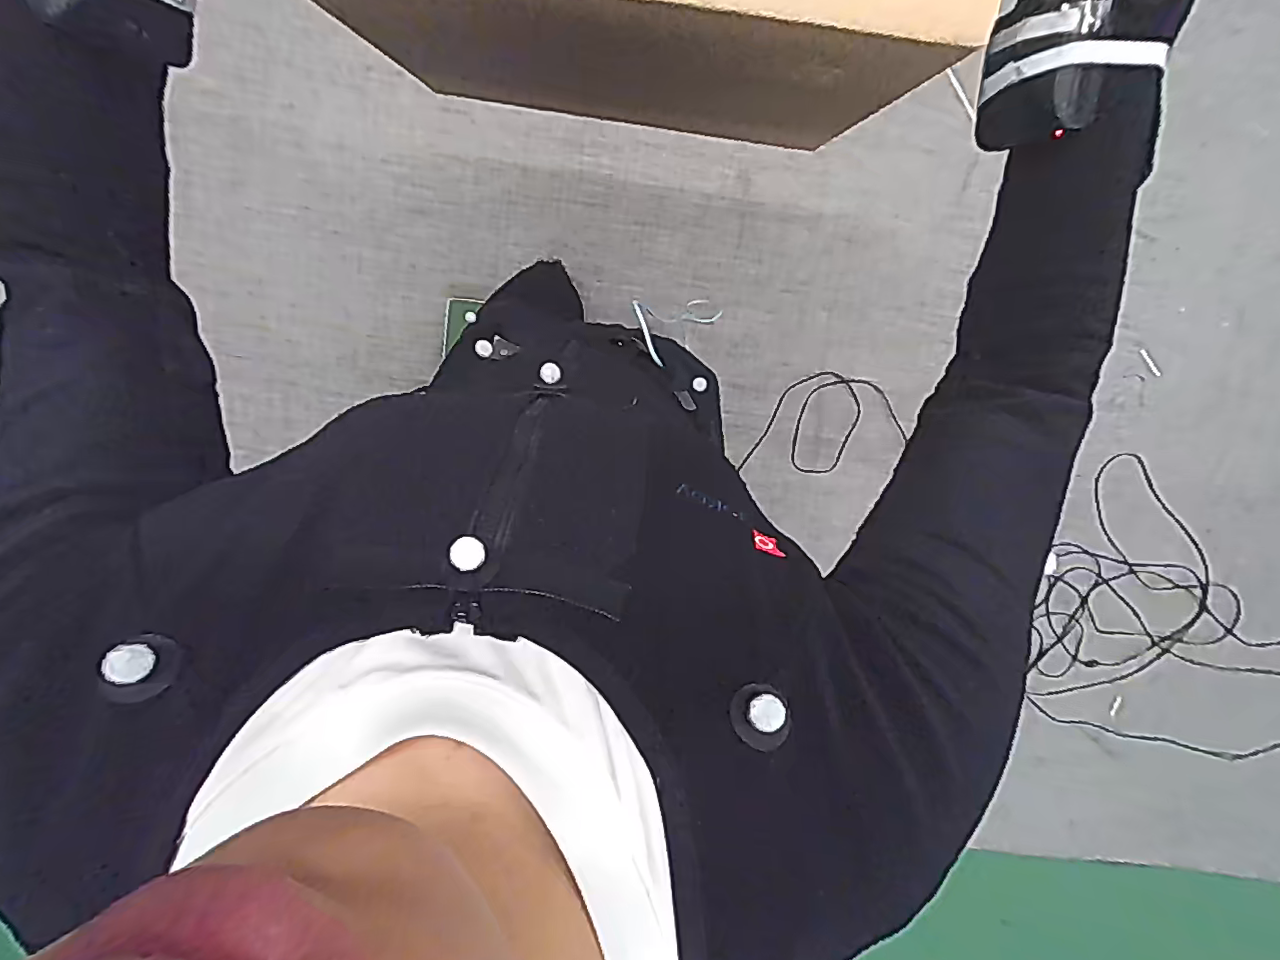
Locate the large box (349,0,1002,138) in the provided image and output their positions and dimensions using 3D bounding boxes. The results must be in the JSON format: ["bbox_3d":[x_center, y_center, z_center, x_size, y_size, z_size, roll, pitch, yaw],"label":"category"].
[{"bbox_3d":[0.011,-0.461,0.366,0.408,0.320,0.320,6,113,-3],"label":"large box"}]
